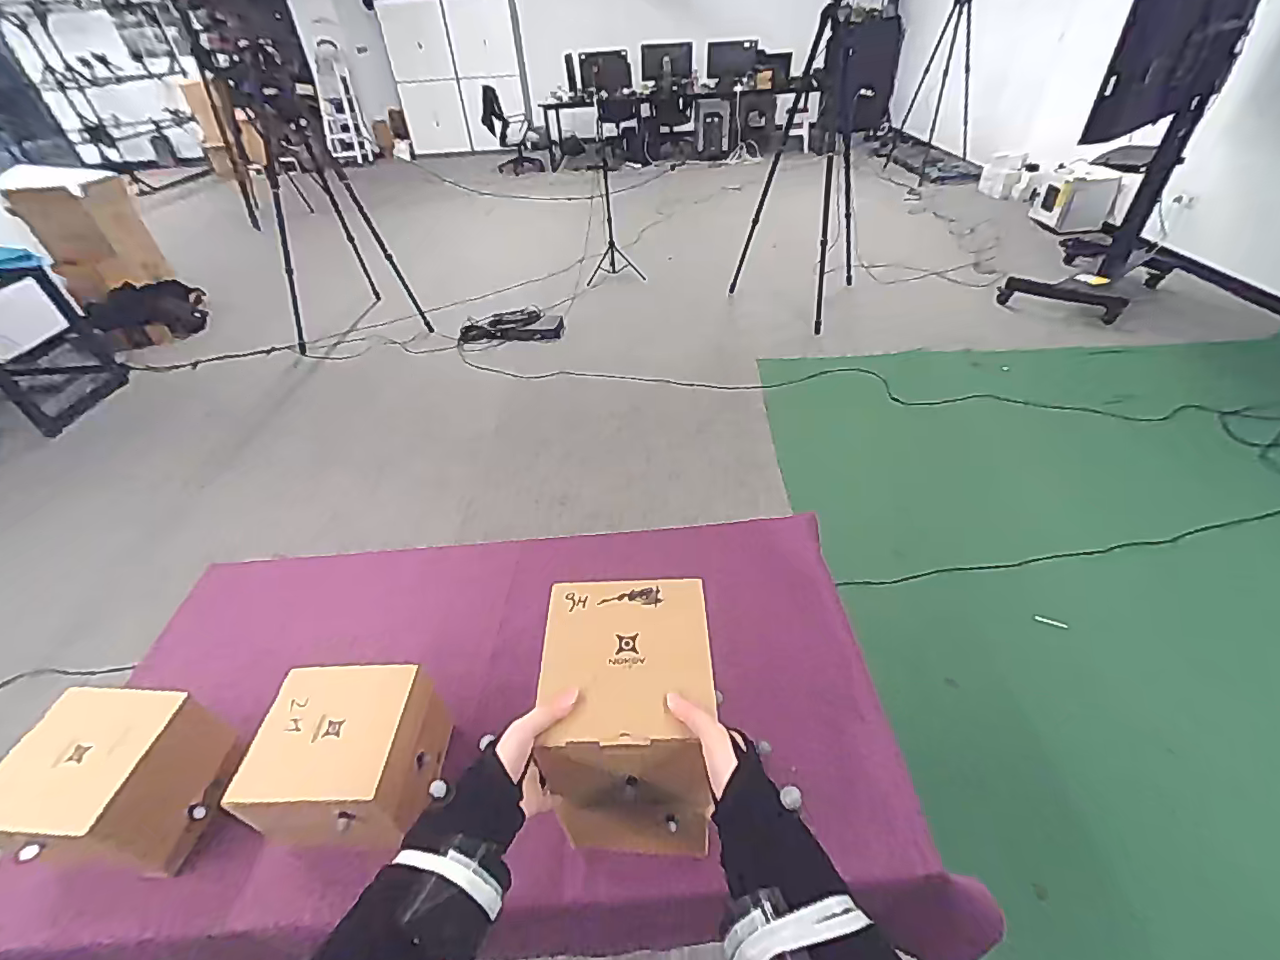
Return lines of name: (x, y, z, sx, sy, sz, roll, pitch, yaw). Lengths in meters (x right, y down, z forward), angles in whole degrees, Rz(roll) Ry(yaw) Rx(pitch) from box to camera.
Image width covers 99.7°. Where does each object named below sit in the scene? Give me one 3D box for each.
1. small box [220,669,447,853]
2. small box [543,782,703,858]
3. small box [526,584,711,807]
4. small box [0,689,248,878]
small box: (-0.375, 0.366, 0.706, 0.179, 0.176, 0.168, -2, 40, 2)
small box: (-0.009, 0.358, 0.687, 0.179, 0.176, 0.168, 1, 41, 5)
small box: (-0.014, 0.233, 0.580, 0.168, 0.176, 0.179, -2, 42, 1)
small box: (-0.674, 0.393, 0.702, 0.179, 0.176, 0.168, 1, 41, 5)
